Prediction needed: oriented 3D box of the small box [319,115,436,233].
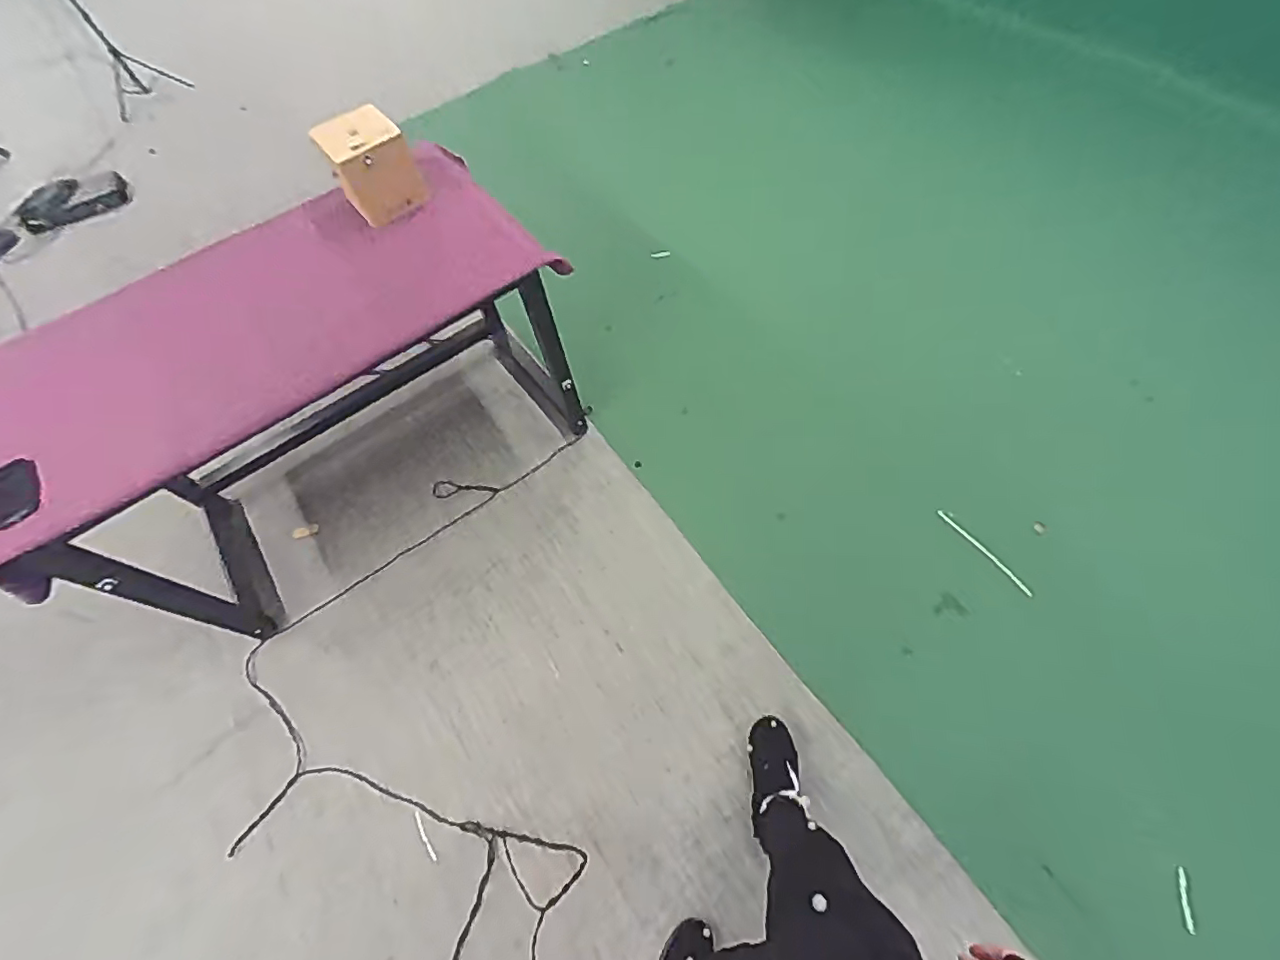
[{"bbox_3d":[-0.633,-0.742,1.318,0.168,0.176,0.179,-36,64,-13],"label":"small box"}]
